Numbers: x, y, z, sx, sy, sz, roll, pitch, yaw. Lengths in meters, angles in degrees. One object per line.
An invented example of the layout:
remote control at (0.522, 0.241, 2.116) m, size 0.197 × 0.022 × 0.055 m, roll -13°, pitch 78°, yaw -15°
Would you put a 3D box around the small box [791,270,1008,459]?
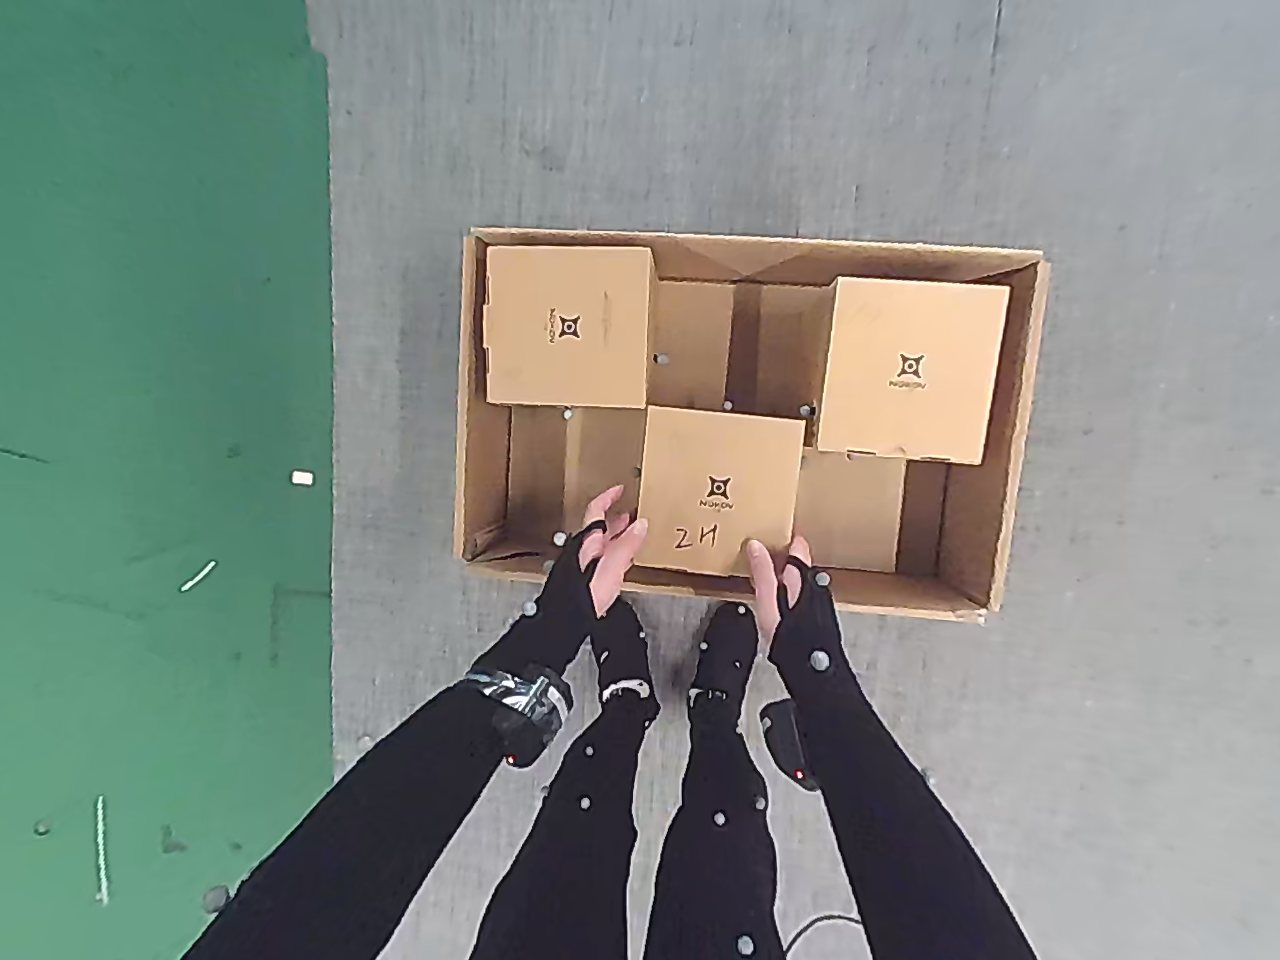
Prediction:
small box at (0.277, -0.124, 0.619) m, size 0.168 × 0.176 × 0.179 m, roll 6°, pitch 98°, yaw 5°
